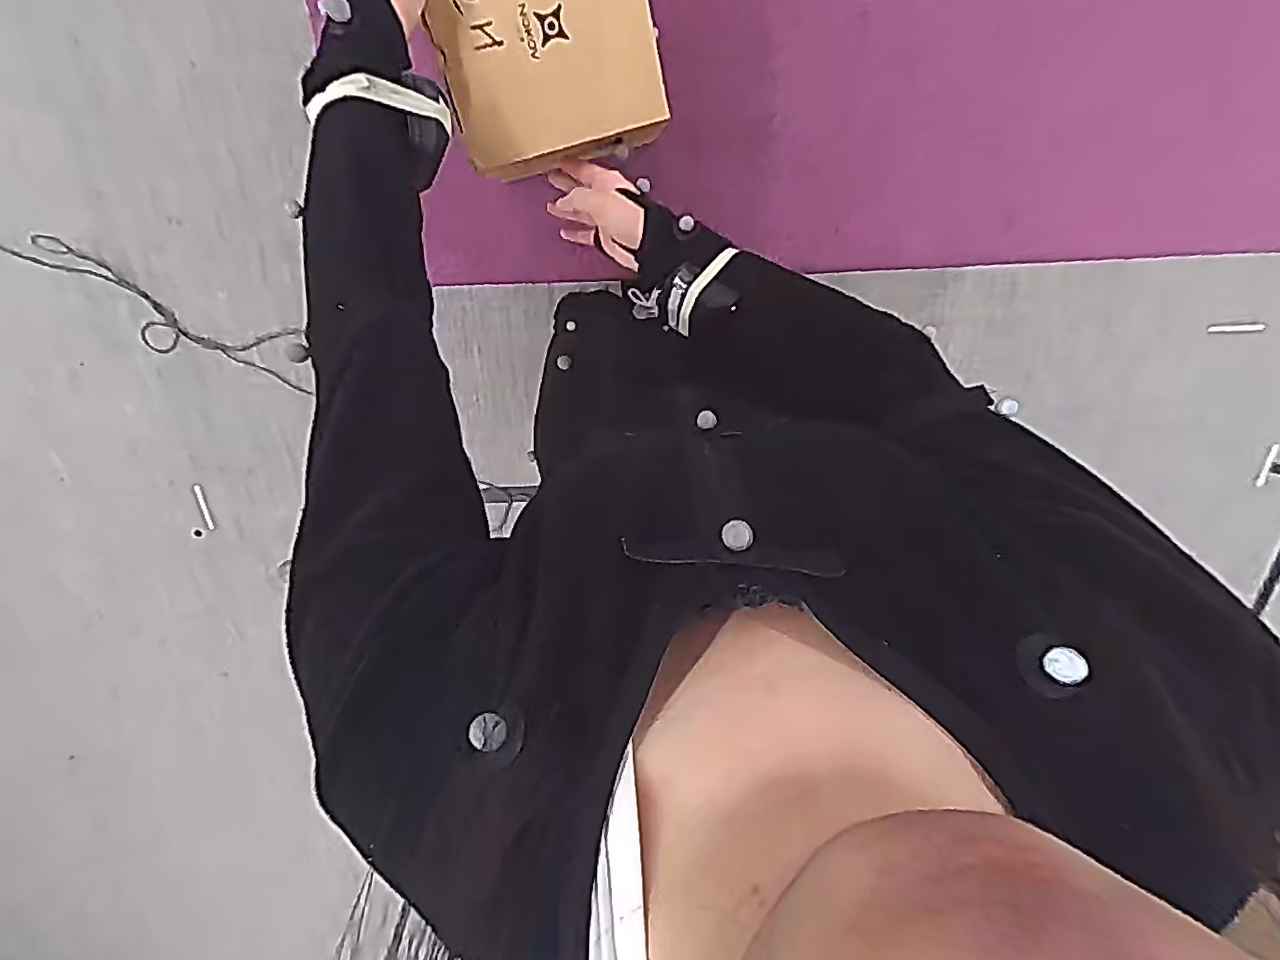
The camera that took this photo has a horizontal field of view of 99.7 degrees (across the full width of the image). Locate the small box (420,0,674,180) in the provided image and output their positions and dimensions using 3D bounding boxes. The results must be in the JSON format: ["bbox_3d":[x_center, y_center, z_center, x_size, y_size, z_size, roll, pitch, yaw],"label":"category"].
[{"bbox_3d":[-0.080,-0.389,0.494,0.179,0.176,0.168,-15,116,3],"label":"small box"}]
